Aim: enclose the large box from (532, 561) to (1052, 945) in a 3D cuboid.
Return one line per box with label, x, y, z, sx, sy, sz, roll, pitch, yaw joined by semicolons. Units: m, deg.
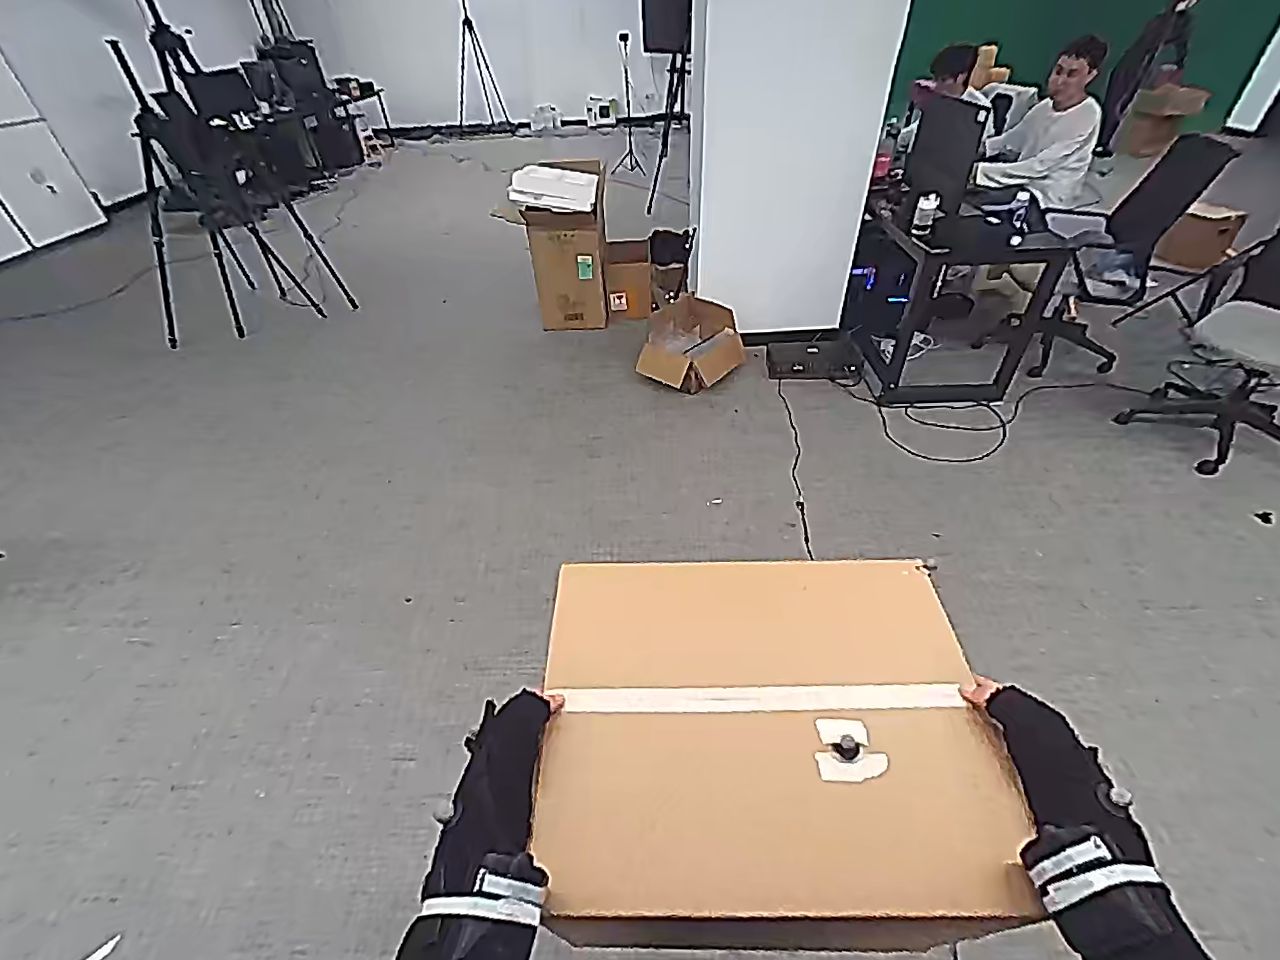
large box;0.115;0.309;0.615;0.408;0.320;0.320;-1;46;1
